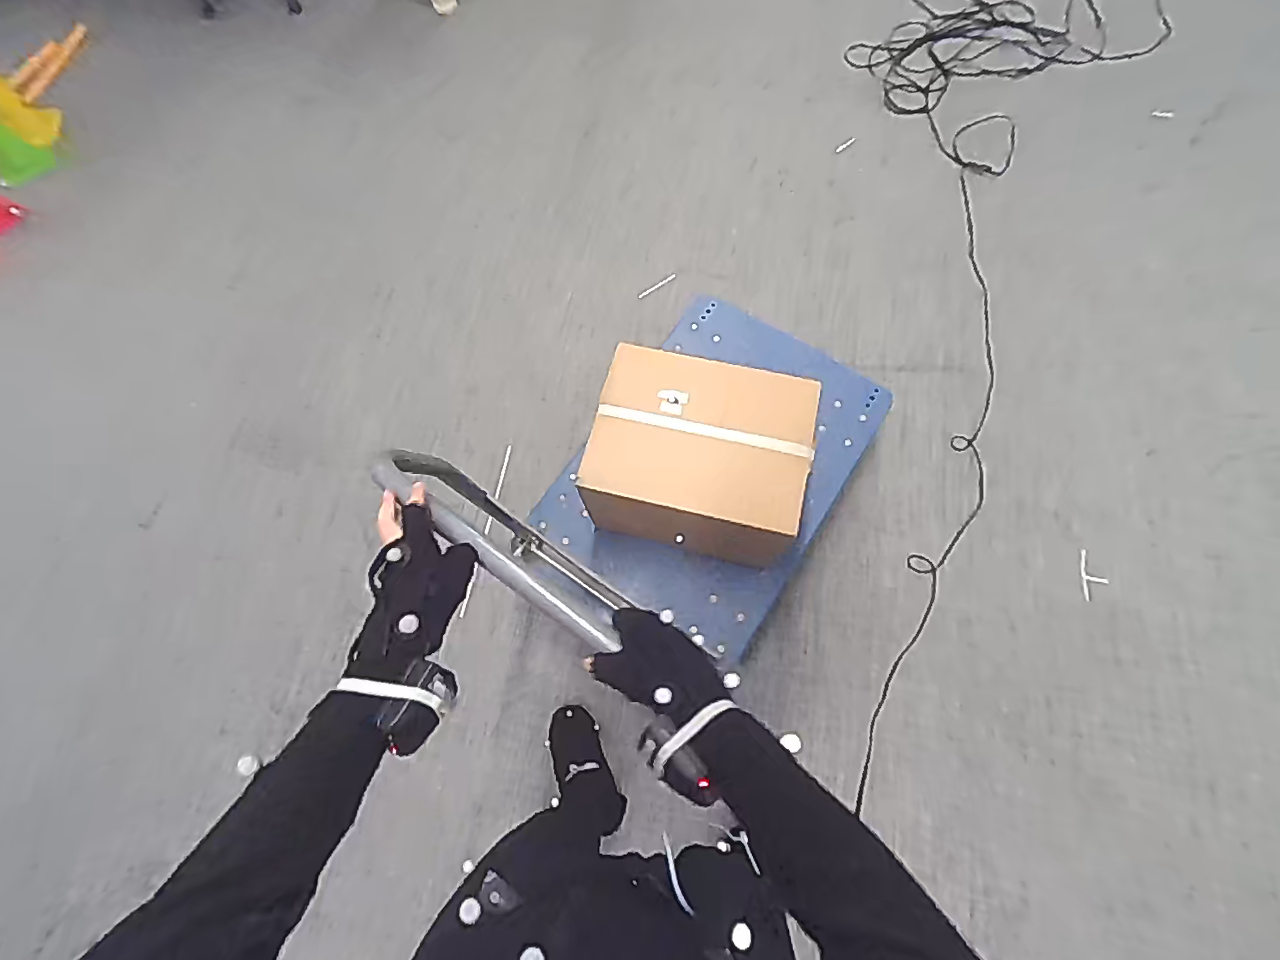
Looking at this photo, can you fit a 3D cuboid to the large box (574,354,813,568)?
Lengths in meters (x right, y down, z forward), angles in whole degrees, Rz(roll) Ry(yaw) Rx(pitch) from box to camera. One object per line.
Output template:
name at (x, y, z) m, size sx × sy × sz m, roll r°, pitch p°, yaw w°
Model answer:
large box at (0.116, -0.026, 1.157) m, size 0.408 × 0.320 × 0.320 m, roll 13°, pitch 70°, yaw 8°
